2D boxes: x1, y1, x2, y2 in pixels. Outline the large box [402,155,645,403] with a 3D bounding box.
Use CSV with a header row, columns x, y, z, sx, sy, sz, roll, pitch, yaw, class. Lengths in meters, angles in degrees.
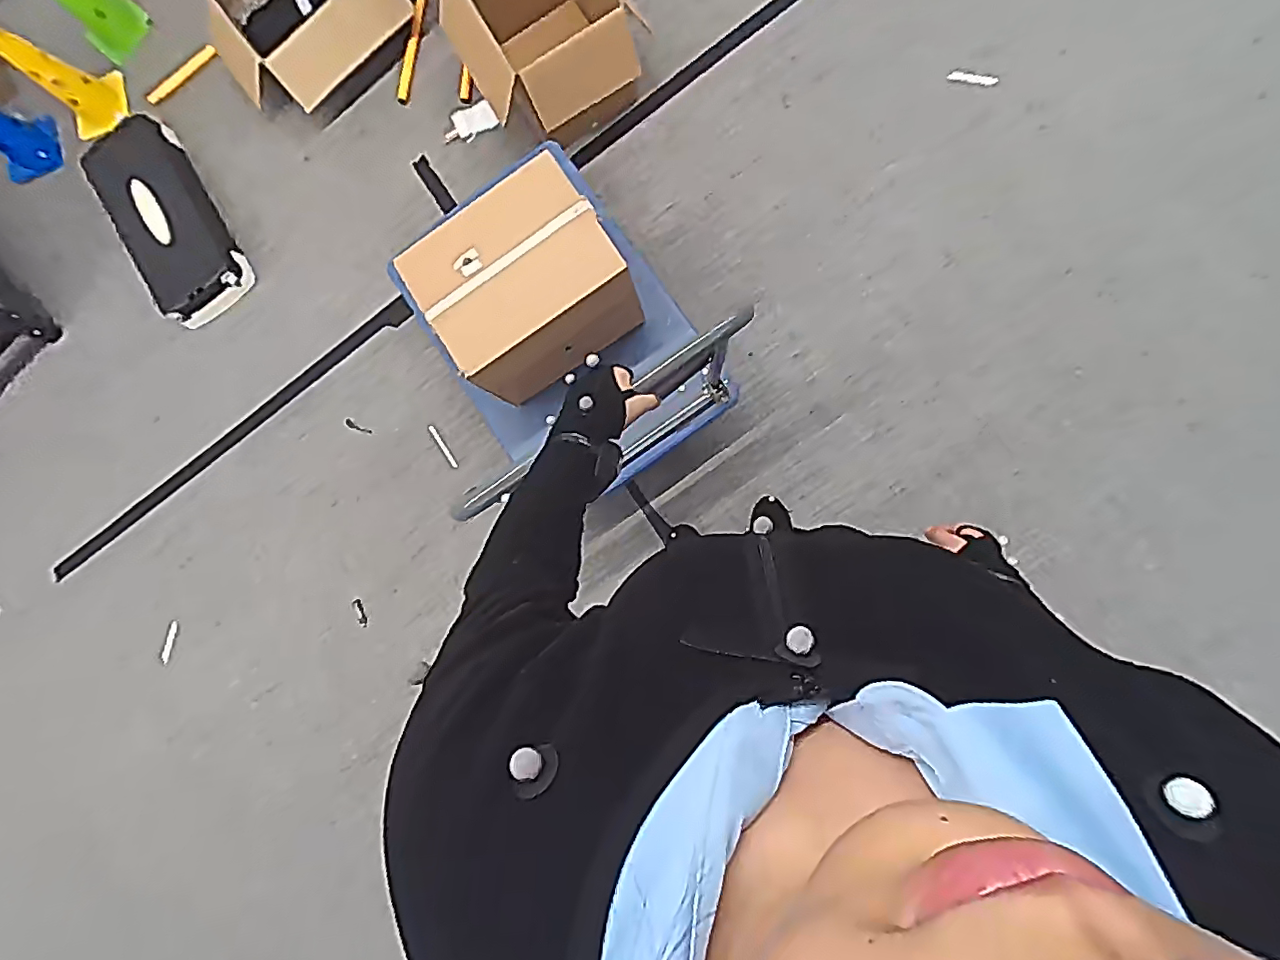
x,y,z,sx,sy,sz,roll,pitch,yaw,class
-0.248,-0.438,1.273,0.408,0.320,0.320,-34,82,5,large box
